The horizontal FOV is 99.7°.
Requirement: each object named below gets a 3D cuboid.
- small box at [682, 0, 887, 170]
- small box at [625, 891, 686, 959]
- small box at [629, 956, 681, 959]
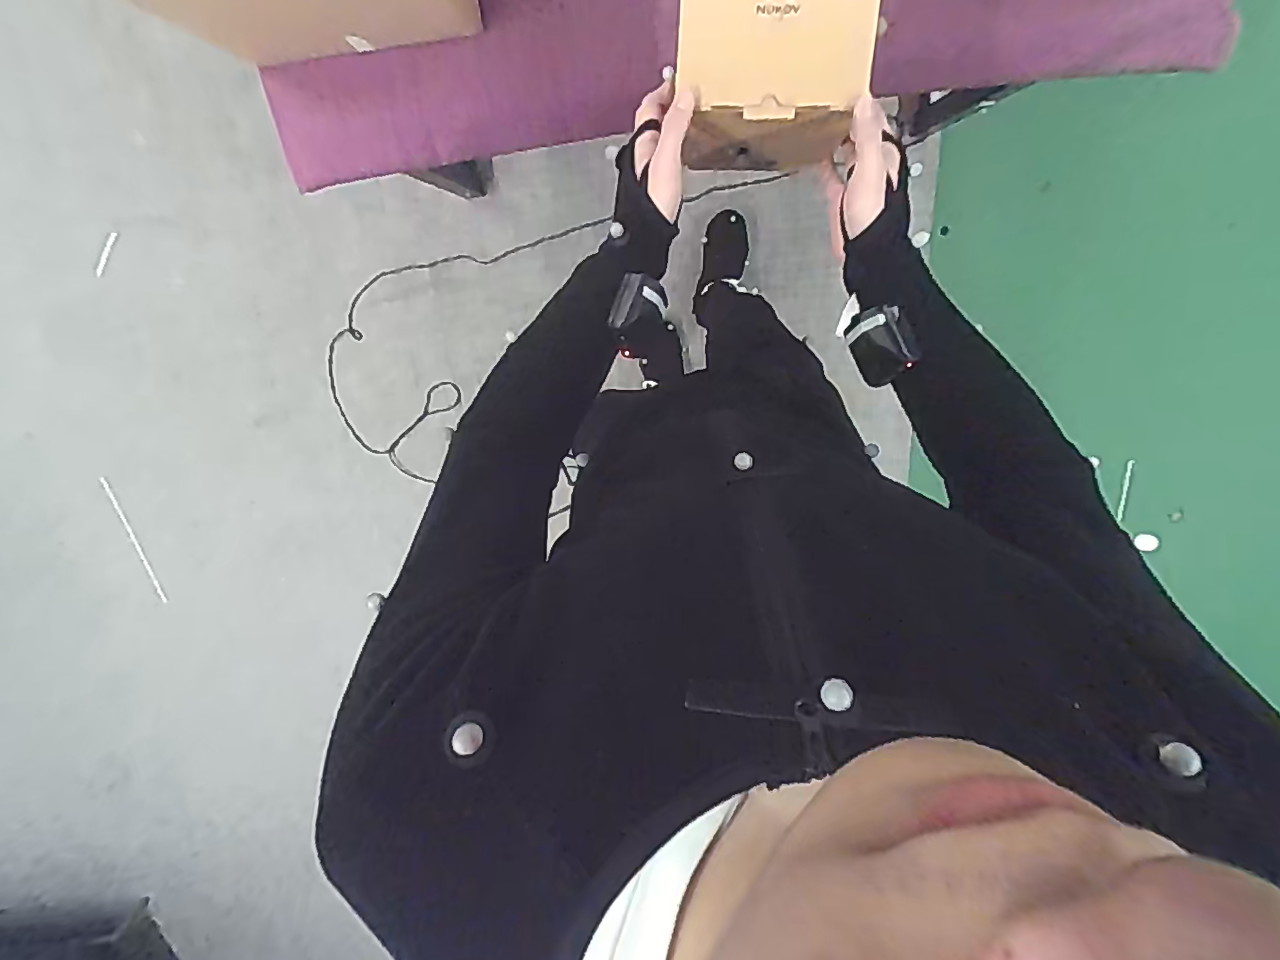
[{"bbox_3d":[0.127,-0.424,0.523,0.168,0.176,0.179,3,105,4],"label":"small box"},{"bbox_3d":[0.050,1.407,1.657,0.168,0.176,0.179,-8,112,3],"label":"small box"},{"bbox_3d":[0.050,1.468,1.505,0.168,0.176,0.179,-10,112,4],"label":"small box"}]
